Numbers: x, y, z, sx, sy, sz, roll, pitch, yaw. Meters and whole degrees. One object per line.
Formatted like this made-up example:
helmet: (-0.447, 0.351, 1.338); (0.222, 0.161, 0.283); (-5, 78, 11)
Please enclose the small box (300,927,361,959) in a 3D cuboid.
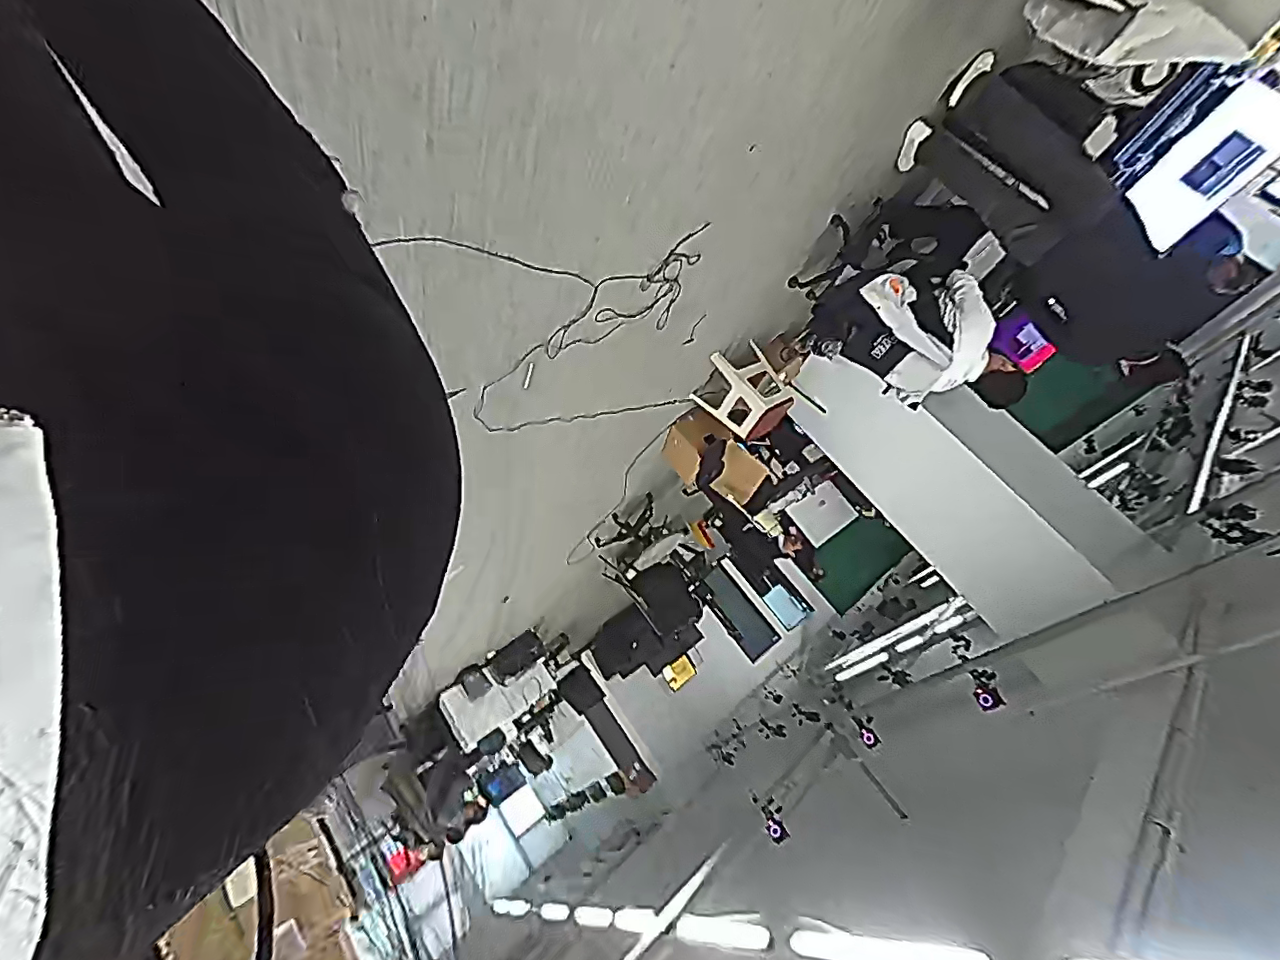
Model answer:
small box: (-1.039, 1.637, 1.798); (0.168, 0.176, 0.179); (-27, 161, -30)
